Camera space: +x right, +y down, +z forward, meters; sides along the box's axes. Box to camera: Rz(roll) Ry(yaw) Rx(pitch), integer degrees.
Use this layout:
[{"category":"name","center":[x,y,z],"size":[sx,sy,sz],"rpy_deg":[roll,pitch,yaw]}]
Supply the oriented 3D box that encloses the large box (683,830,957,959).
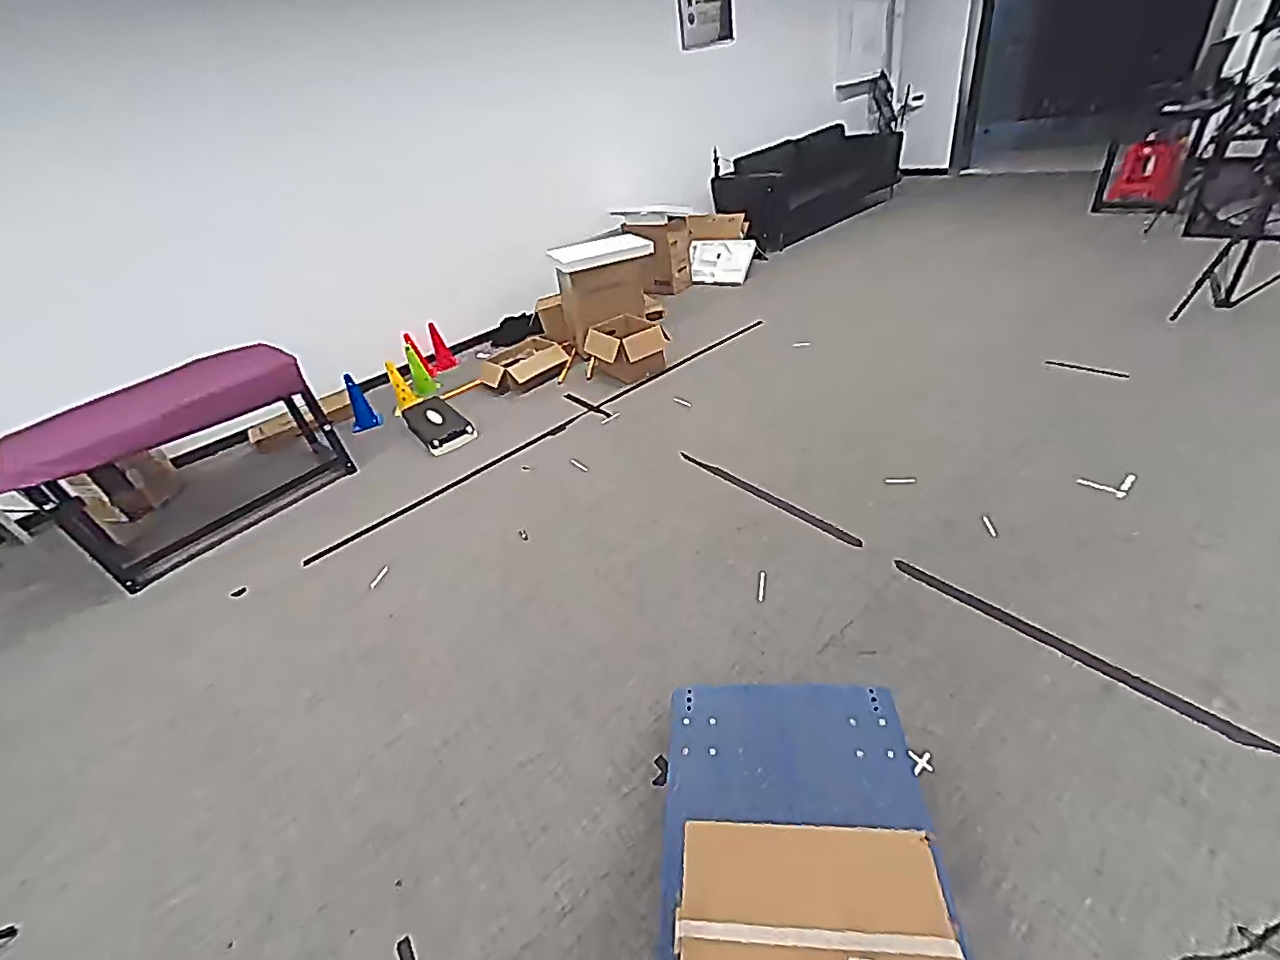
[{"category":"large box","center":[0.283,0.821,0.896],"size":[0.408,0.320,0.320],"rpy_deg":[-3,37,10]}]
